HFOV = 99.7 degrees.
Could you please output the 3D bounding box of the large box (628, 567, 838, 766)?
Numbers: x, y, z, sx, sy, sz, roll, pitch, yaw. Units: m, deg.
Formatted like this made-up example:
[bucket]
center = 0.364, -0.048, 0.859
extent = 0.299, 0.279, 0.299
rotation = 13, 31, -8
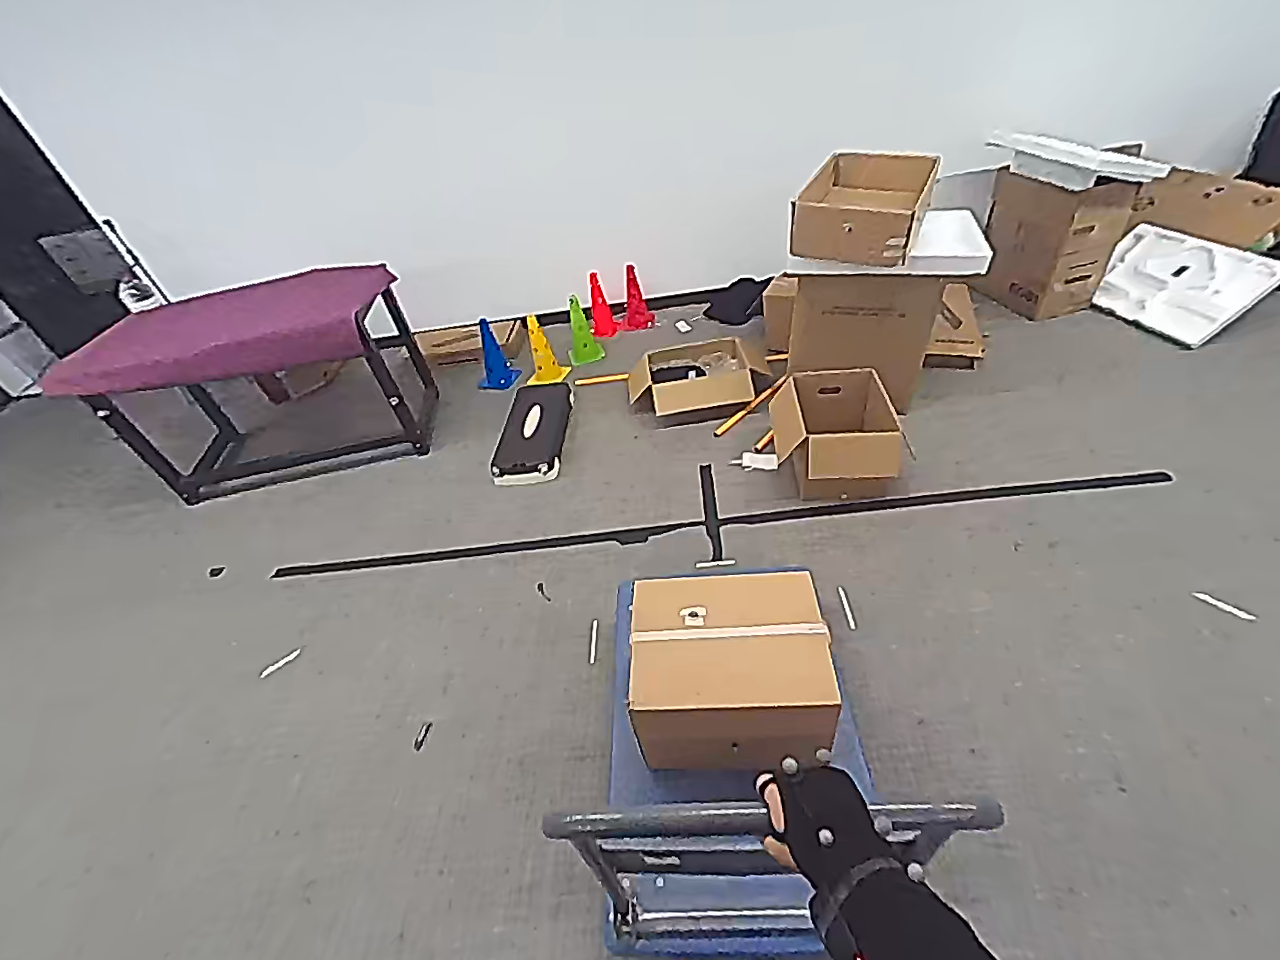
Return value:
[large box]
center = 0.198, 0.428, 1.228
extent = 0.408, 0.320, 0.320
rotation = -6, 41, 7
